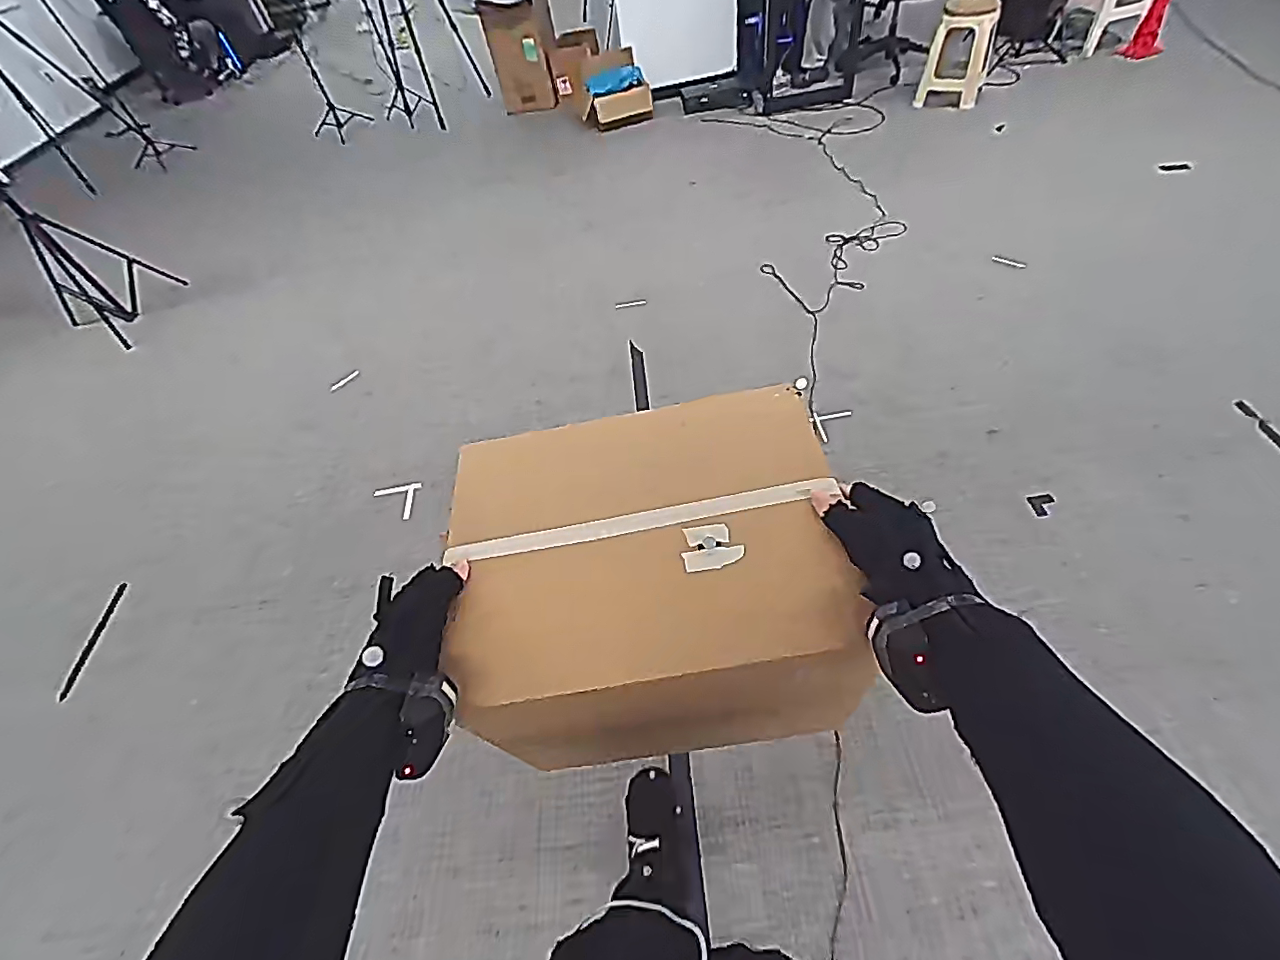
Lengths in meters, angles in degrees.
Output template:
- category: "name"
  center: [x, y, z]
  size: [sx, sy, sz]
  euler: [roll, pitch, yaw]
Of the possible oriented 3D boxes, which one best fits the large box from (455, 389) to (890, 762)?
- category: "large box"
  center: [0.029, 0.134, 0.686]
  size: [0.408, 0.320, 0.320]
  euler: [-10, 53, 3]
